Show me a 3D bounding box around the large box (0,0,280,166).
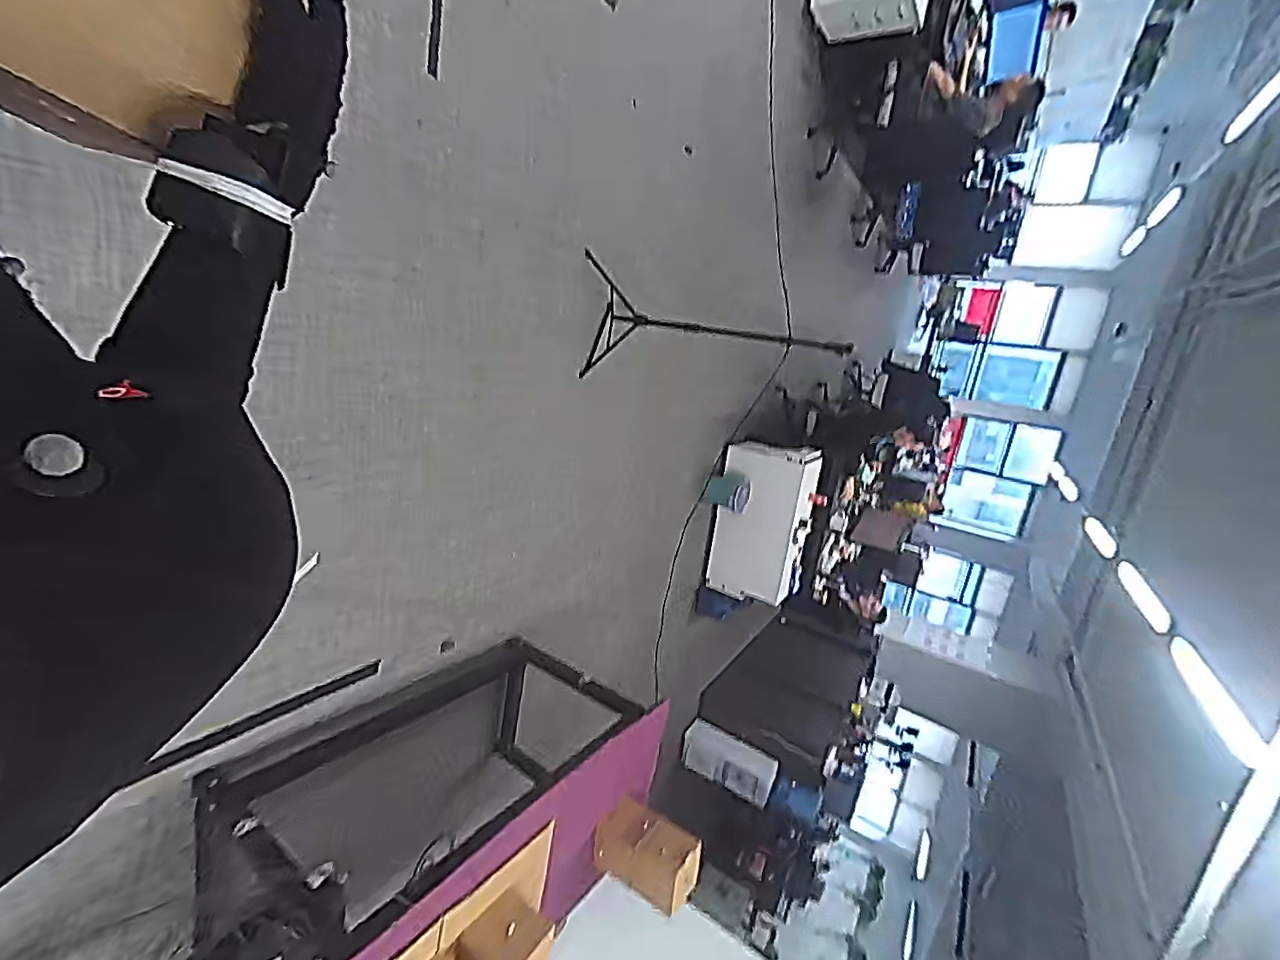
[{"bbox_3d":[-0.471,-0.452,0.294,0.408,0.320,0.320,15,100,-62],"label":"large box"}]
